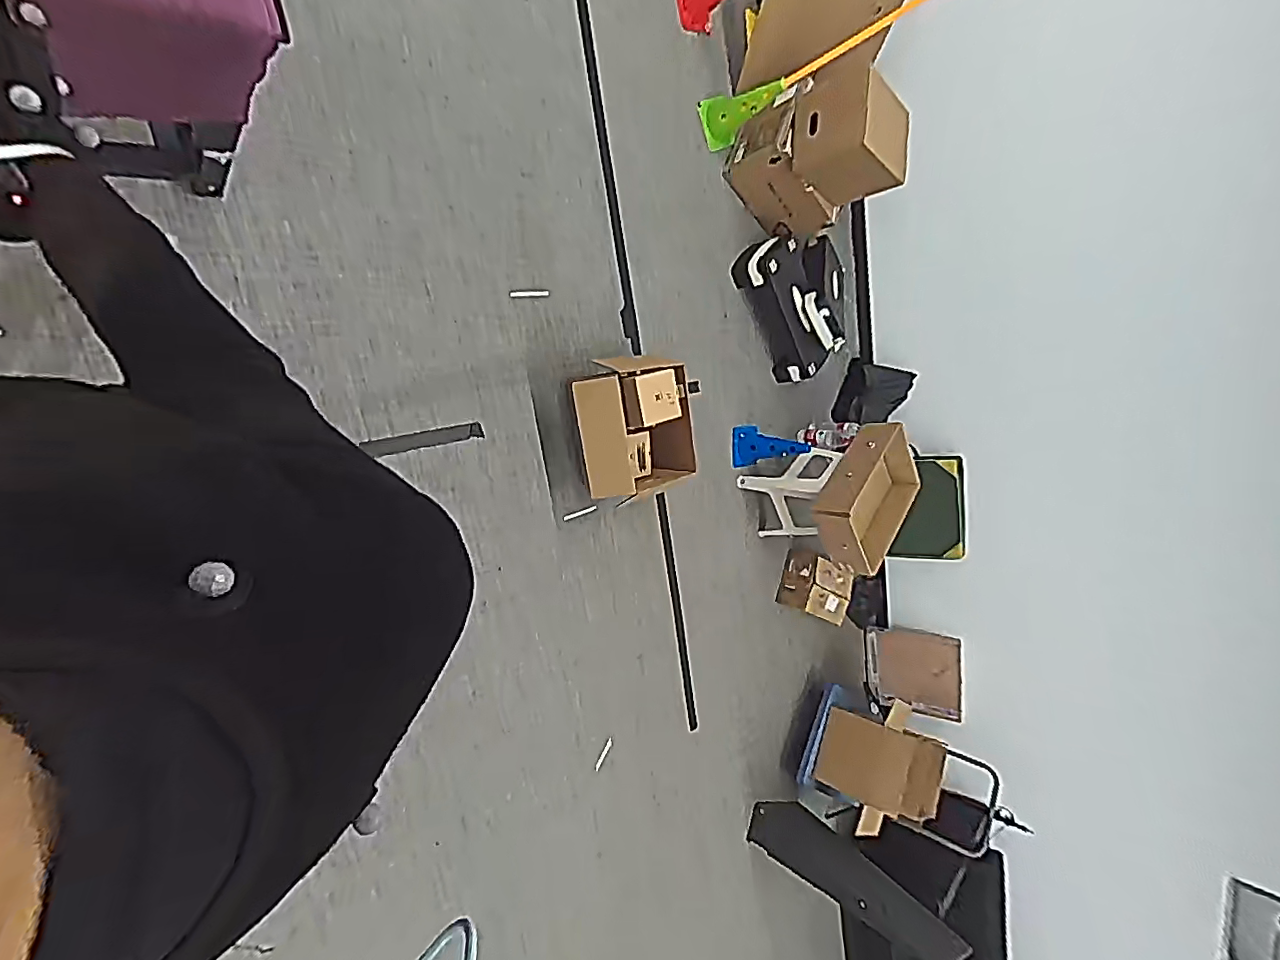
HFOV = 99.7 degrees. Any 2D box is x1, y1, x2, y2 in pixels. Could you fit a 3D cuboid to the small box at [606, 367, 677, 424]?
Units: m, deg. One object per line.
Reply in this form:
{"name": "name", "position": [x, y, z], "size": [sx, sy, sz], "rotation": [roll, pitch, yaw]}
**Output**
{"name": "small box", "position": [0.000, -0.288, 1.852], "size": [0.179, 0.176, 0.168], "rotation": [-21, 108, -39]}
